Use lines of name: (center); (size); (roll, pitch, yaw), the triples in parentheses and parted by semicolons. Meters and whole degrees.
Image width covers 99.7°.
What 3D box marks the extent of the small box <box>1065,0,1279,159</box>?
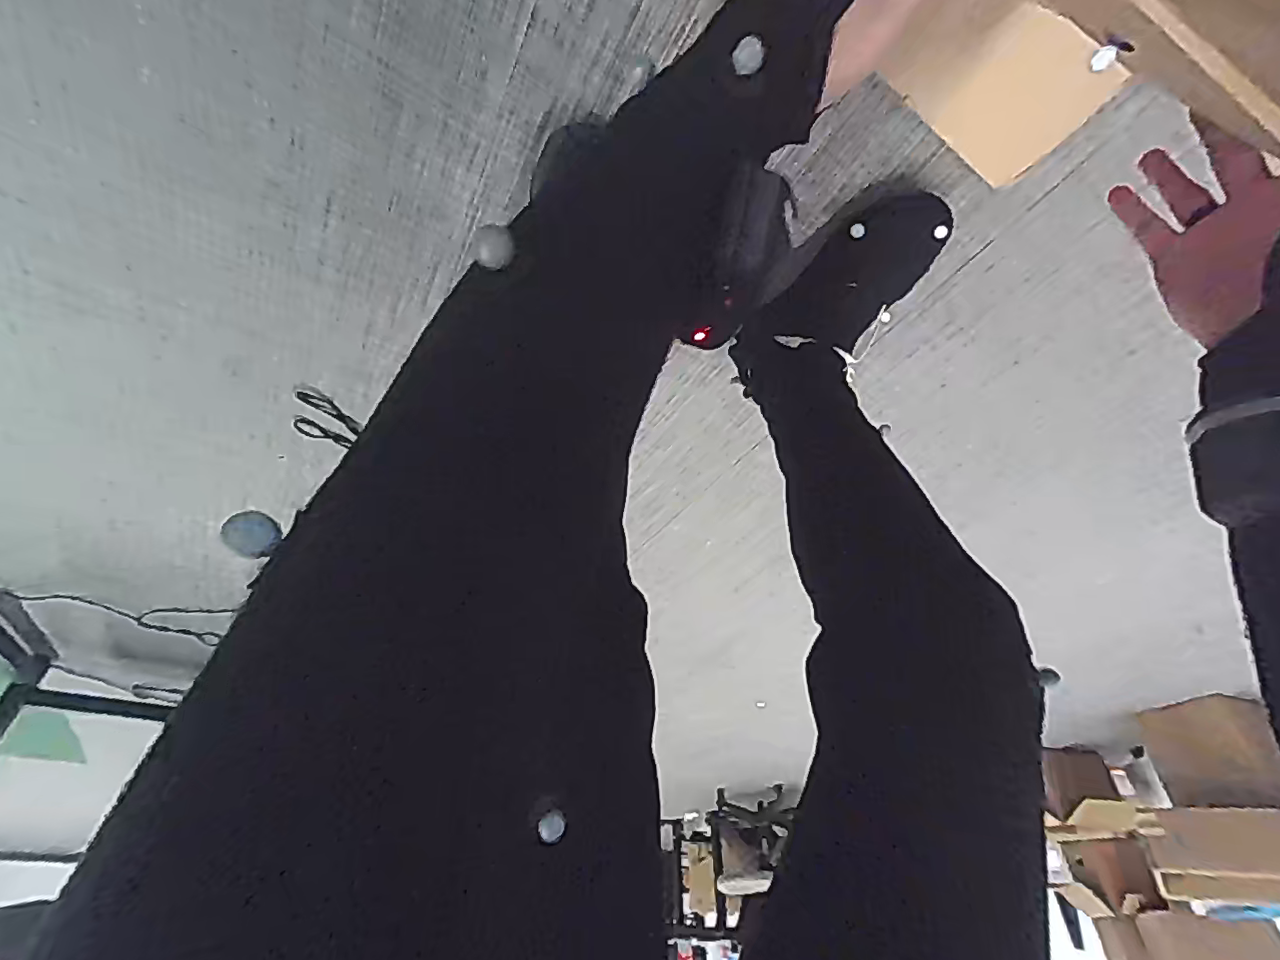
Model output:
small box: (0.297, -0.281, 0.226); (0.168, 0.176, 0.179); (16, 139, -20)
